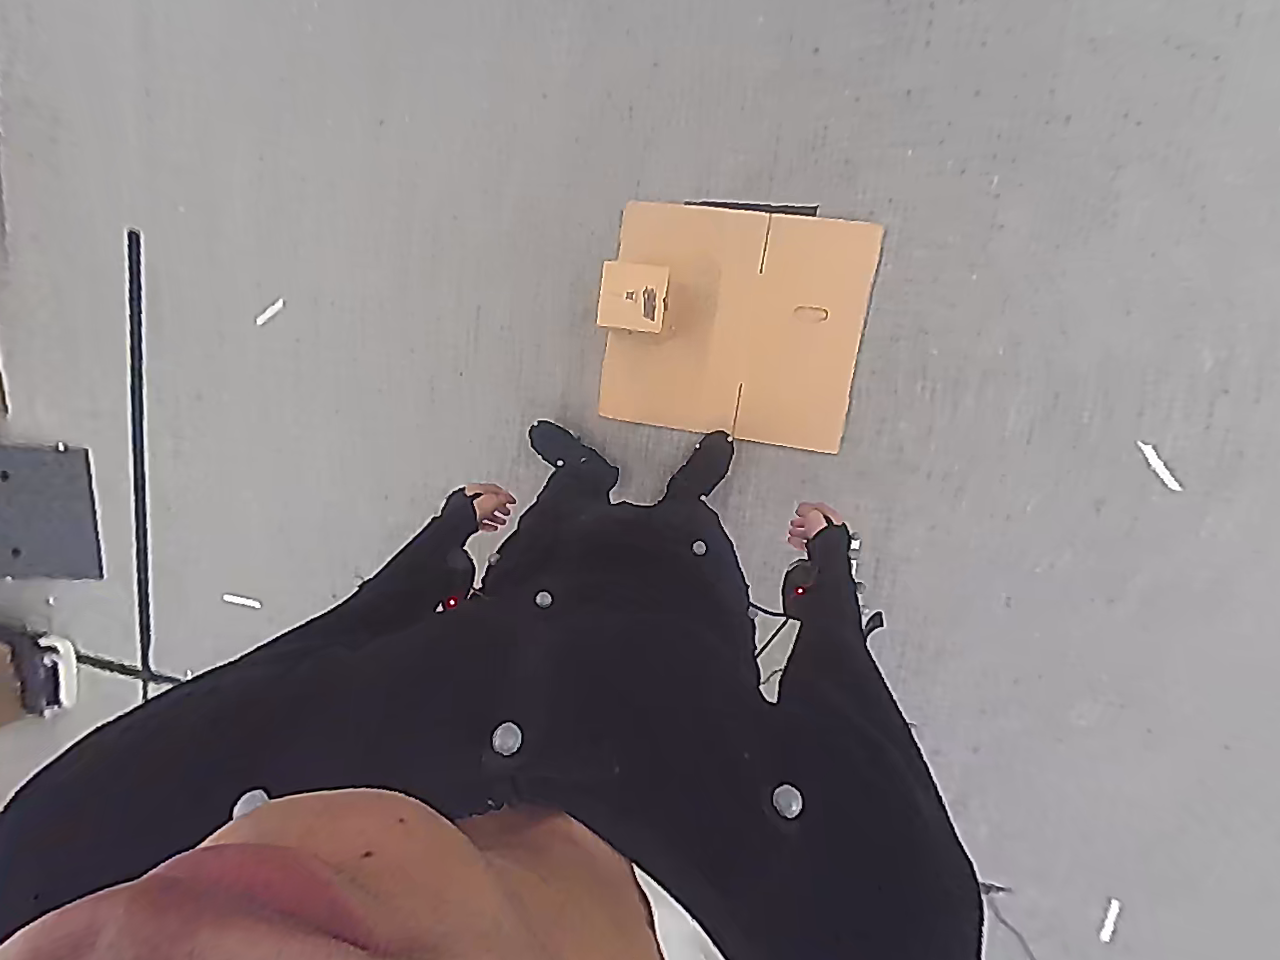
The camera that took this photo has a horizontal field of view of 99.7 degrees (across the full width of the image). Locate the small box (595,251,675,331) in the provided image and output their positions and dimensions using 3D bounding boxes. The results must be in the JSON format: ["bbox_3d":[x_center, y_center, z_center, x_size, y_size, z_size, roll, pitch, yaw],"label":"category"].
[{"bbox_3d":[-0.008,-0.500,1.451,0.179,0.176,0.168,10,100,9],"label":"small box"}]
